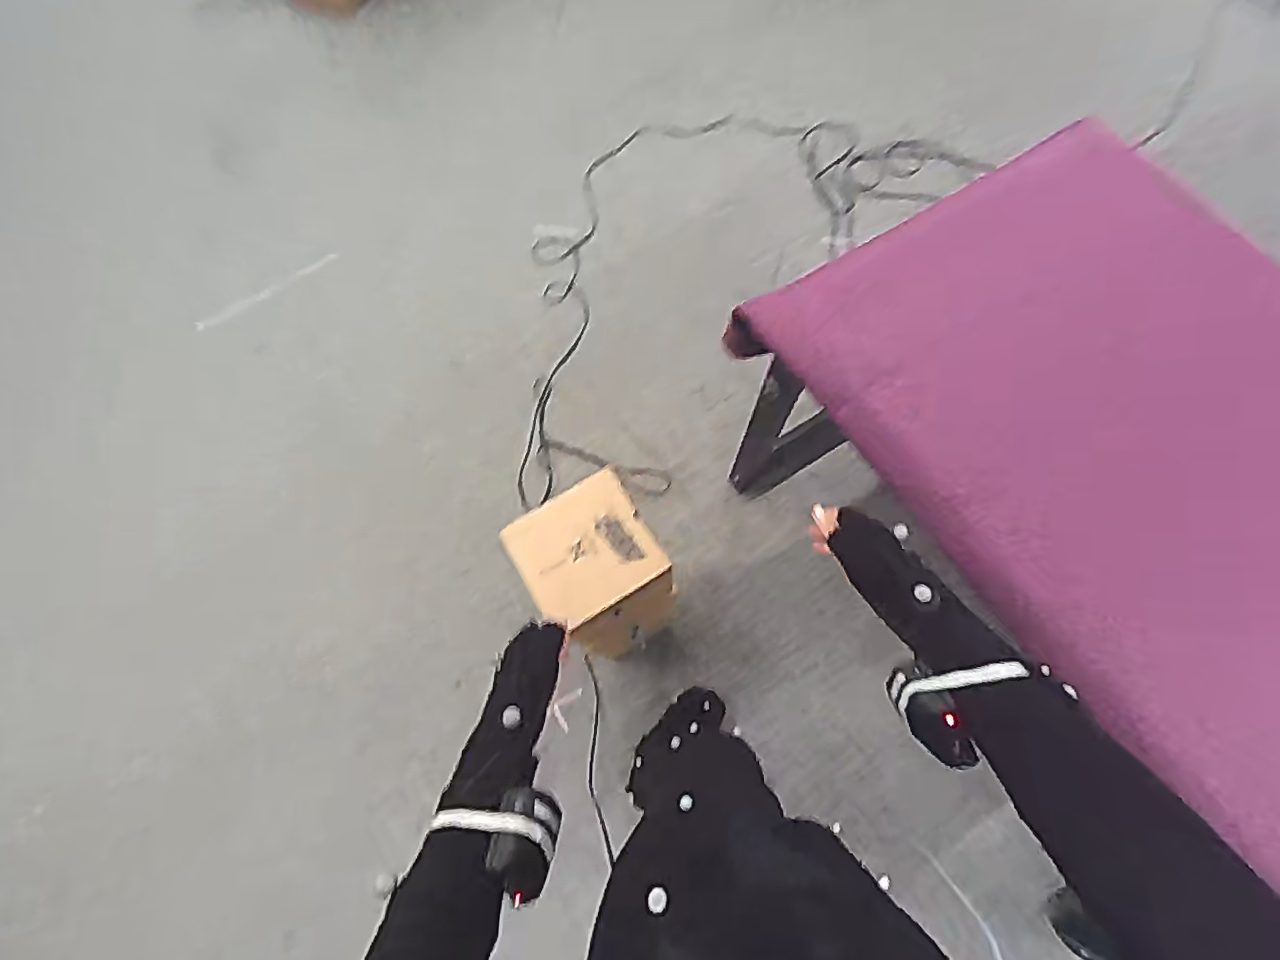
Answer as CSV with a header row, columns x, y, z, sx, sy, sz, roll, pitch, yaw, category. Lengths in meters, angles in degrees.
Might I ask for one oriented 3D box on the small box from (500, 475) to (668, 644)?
x,y,z,sx,sy,sz,roll,pitch,yaw,category
-0.073,0.123,0.791,0.179,0.176,0.168,-30,72,-6,small box
